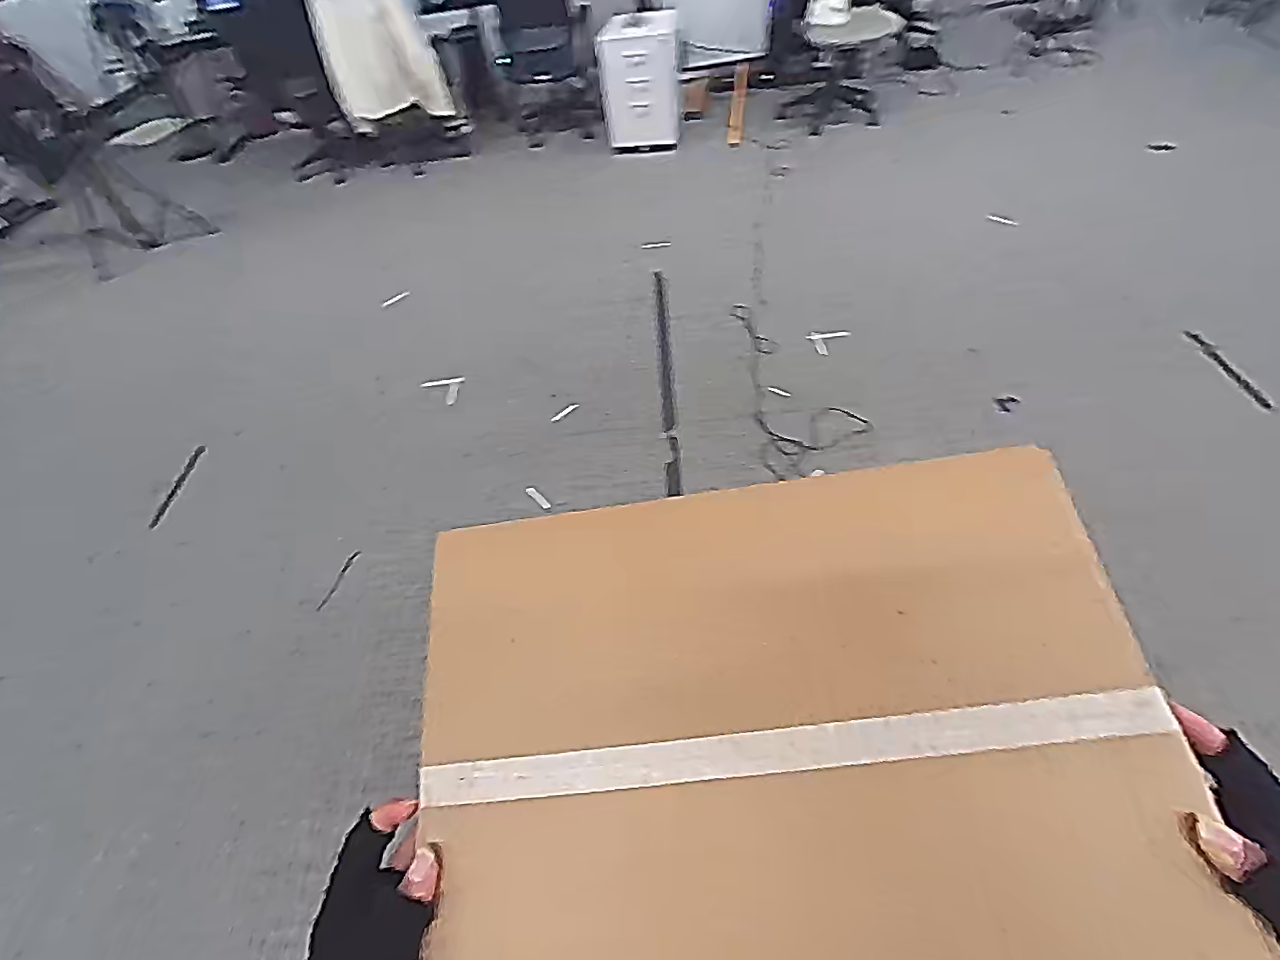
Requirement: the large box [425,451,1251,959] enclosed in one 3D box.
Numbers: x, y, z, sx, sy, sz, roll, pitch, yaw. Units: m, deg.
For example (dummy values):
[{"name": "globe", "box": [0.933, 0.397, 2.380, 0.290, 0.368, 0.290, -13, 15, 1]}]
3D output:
[{"name": "large box", "box": [0.094, 0.209, 0.443, 0.408, 0.320, 0.320, -9, 64, 6]}]
